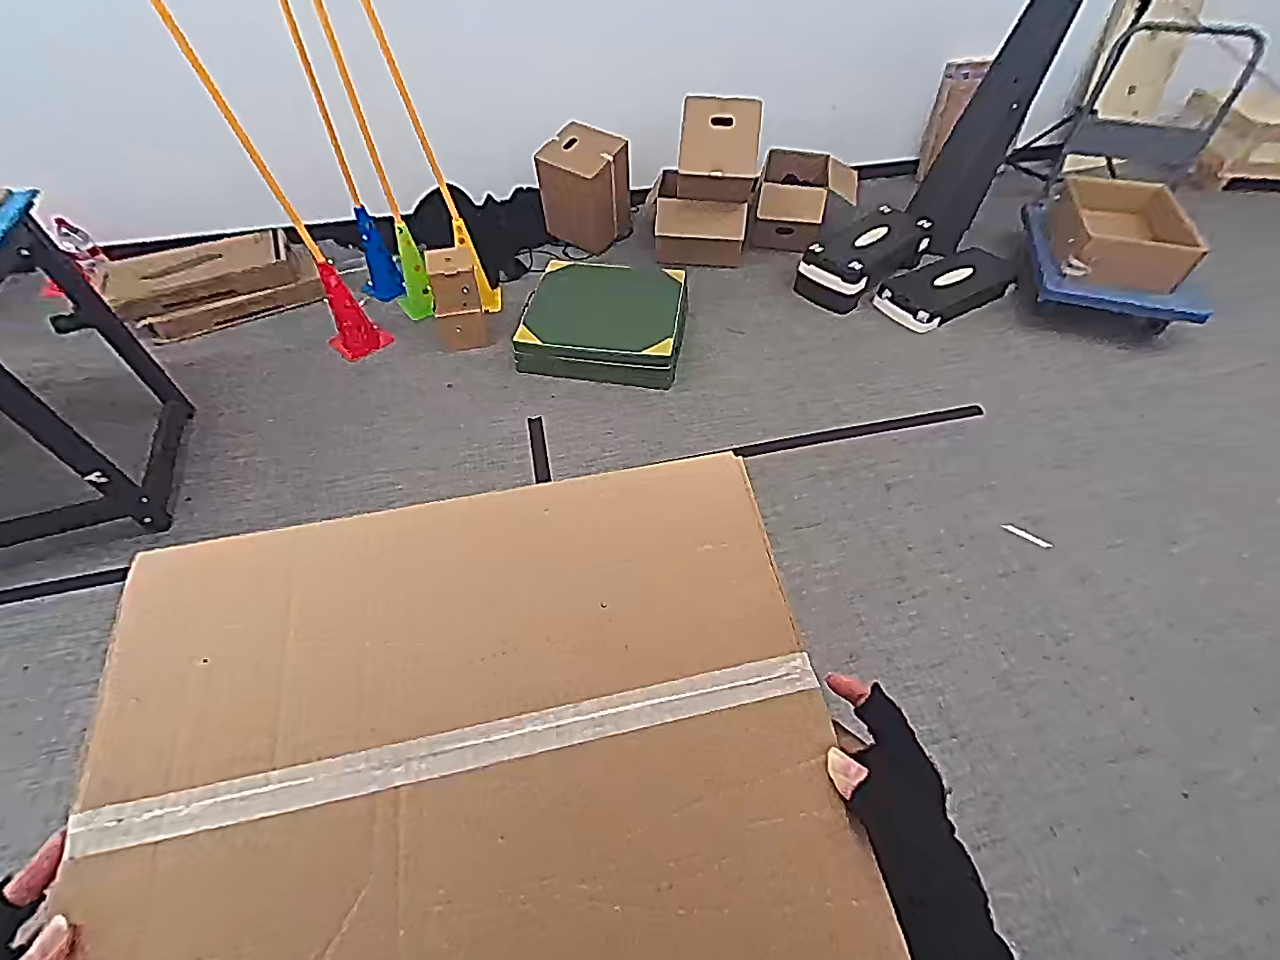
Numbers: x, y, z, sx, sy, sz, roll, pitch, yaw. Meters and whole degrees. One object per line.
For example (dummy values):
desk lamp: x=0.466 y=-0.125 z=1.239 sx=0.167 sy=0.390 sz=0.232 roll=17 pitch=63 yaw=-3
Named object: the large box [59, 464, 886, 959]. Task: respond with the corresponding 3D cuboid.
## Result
large box: x=-0.100 y=0.222 z=0.444 sx=0.408 sy=0.320 sz=0.320 roll=-10 pitch=62 yaw=-6
